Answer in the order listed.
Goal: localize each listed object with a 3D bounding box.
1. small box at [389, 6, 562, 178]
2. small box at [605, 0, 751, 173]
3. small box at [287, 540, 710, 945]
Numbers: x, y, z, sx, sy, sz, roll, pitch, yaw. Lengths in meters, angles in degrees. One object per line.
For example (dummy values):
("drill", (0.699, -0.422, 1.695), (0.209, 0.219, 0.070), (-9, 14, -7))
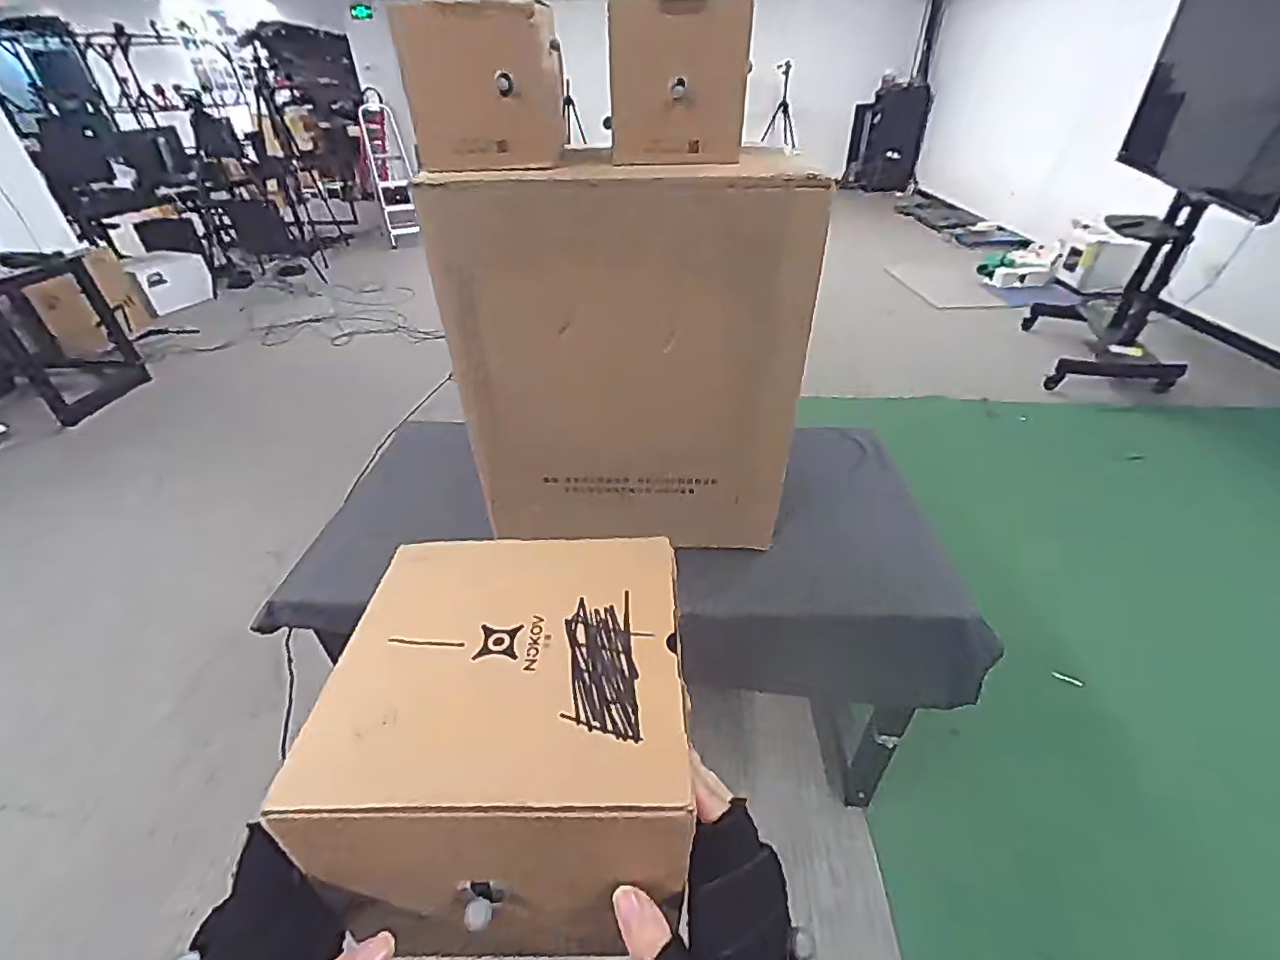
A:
("small box", (-0.195, -0.500, 0.706), (0.168, 0.176, 0.179), (-1, 38, -1))
("small box", (0.047, -0.511, 0.710), (0.168, 0.176, 0.179), (1, 39, 2))
("small box", (-0.066, 0.156, 0.333), (0.179, 0.176, 0.168), (2, 35, -5))
